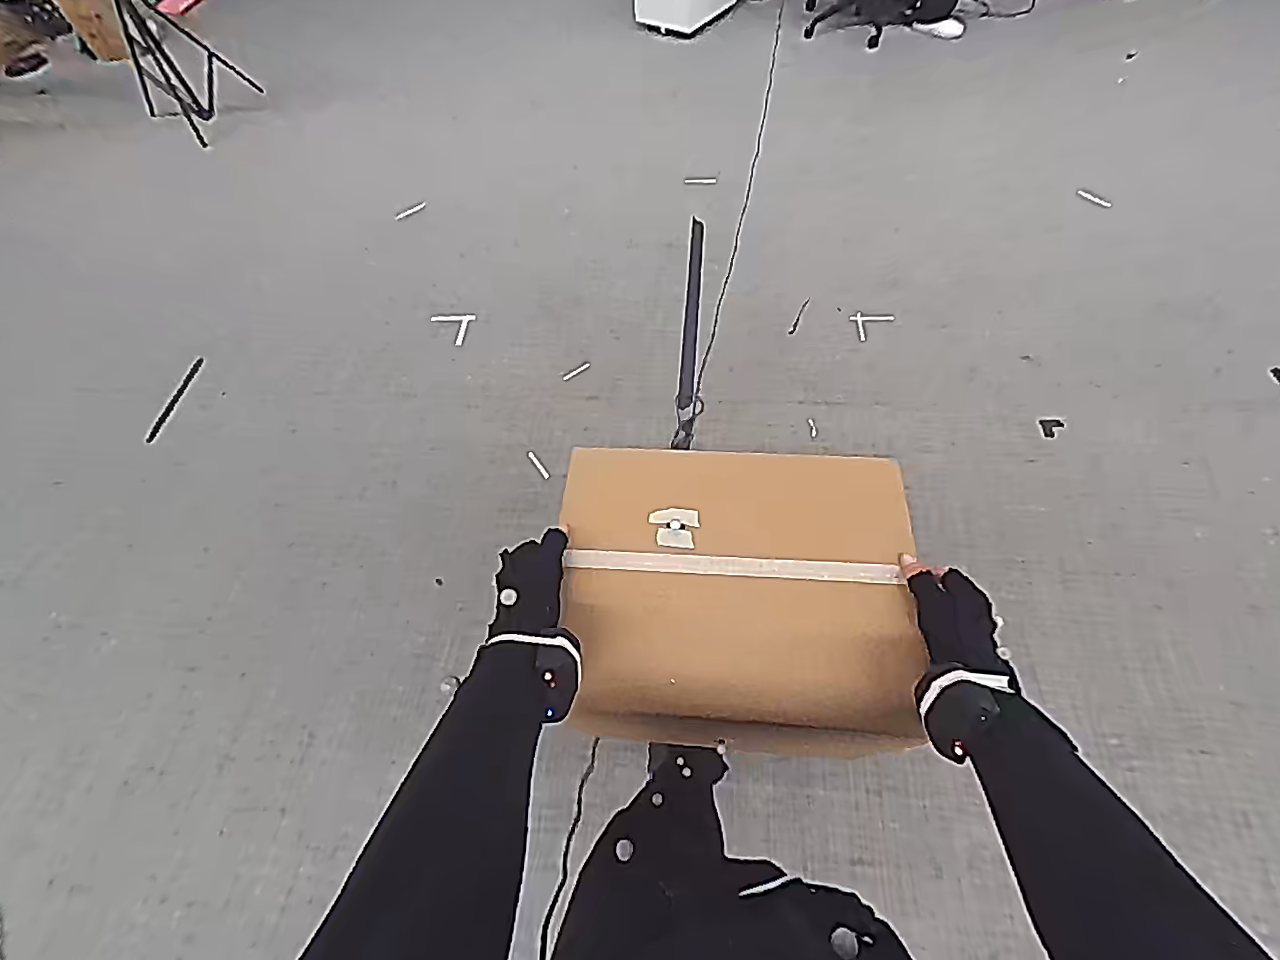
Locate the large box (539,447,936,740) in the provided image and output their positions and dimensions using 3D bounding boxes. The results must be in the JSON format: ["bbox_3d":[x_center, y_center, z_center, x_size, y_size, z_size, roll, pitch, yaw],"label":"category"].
[{"bbox_3d":[0.116,0.167,0.744,0.408,0.320,0.320,2,59,7],"label":"large box"}]
